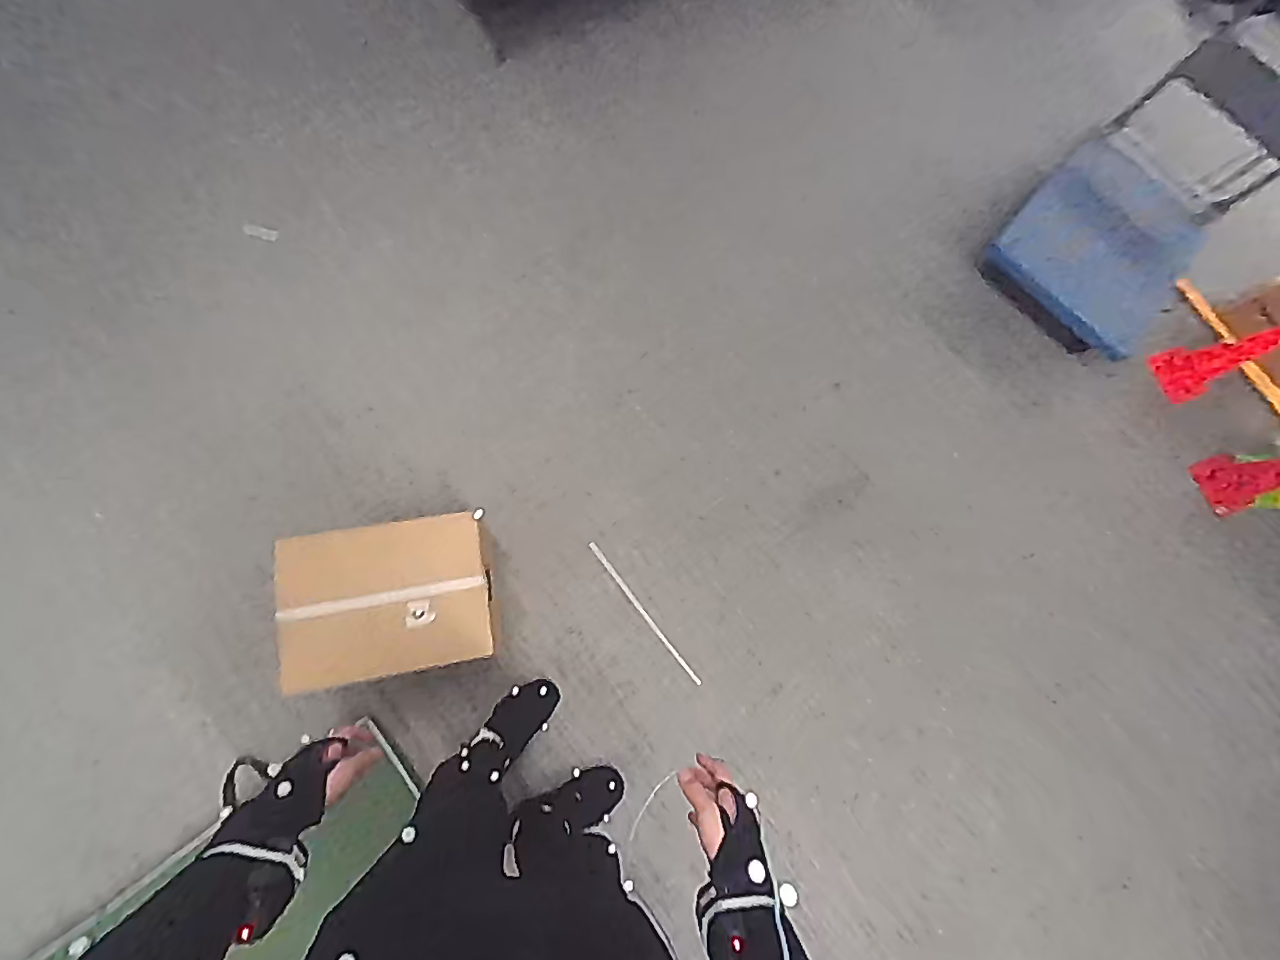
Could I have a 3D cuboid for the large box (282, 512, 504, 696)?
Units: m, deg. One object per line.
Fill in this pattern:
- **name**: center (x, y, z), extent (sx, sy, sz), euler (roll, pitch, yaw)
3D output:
- **large box**: center (-0.548, 0.285, 1.265), extent (0.408, 0.320, 0.320), euler (-8, 77, -12)
